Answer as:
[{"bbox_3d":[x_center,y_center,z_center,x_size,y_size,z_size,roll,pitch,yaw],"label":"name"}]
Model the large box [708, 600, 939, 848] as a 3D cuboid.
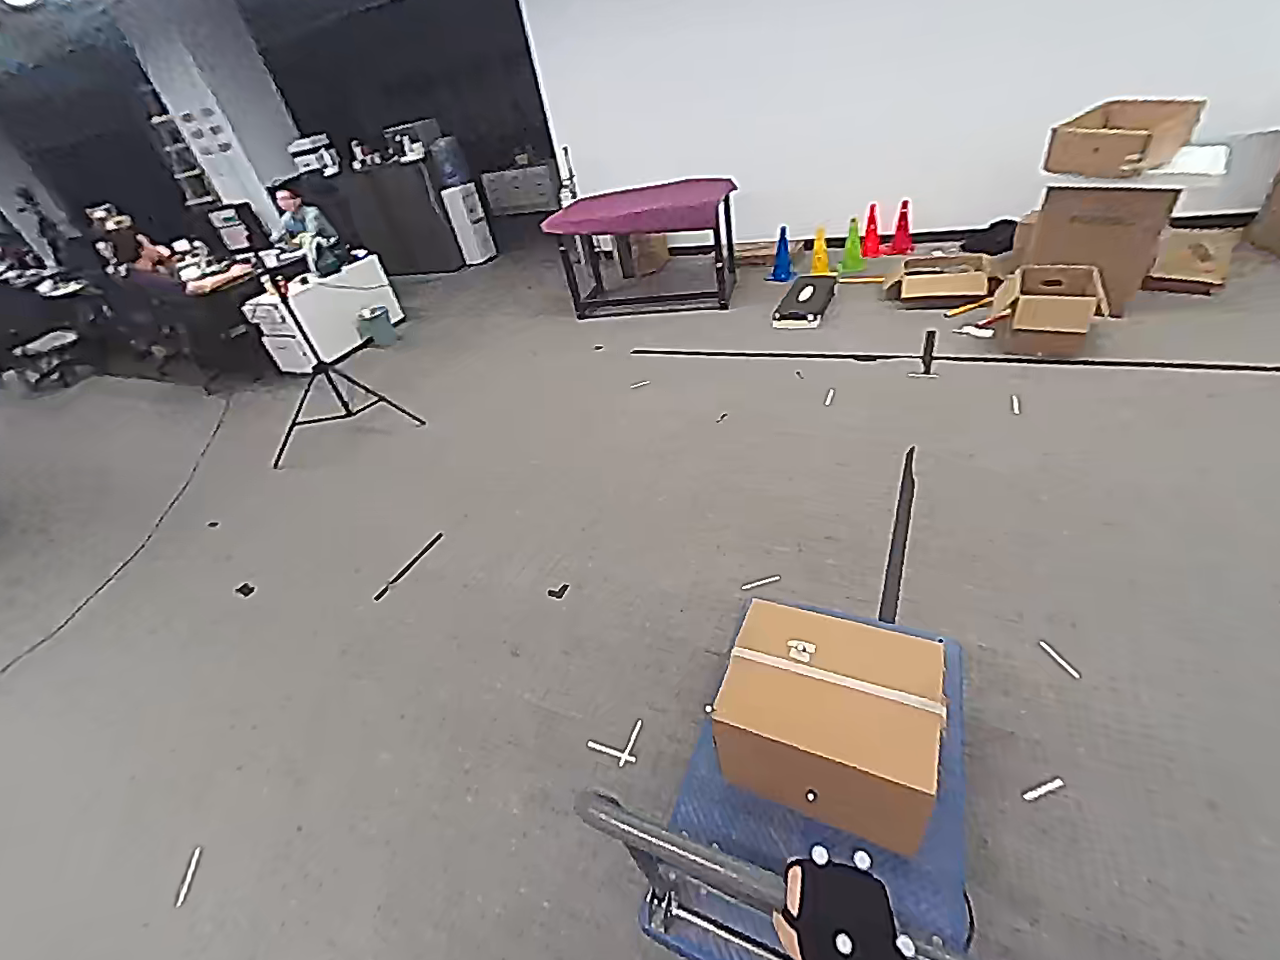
[{"bbox_3d":[0.402,0.510,1.171,0.408,0.320,0.320,7,41,26],"label":"large box"}]
